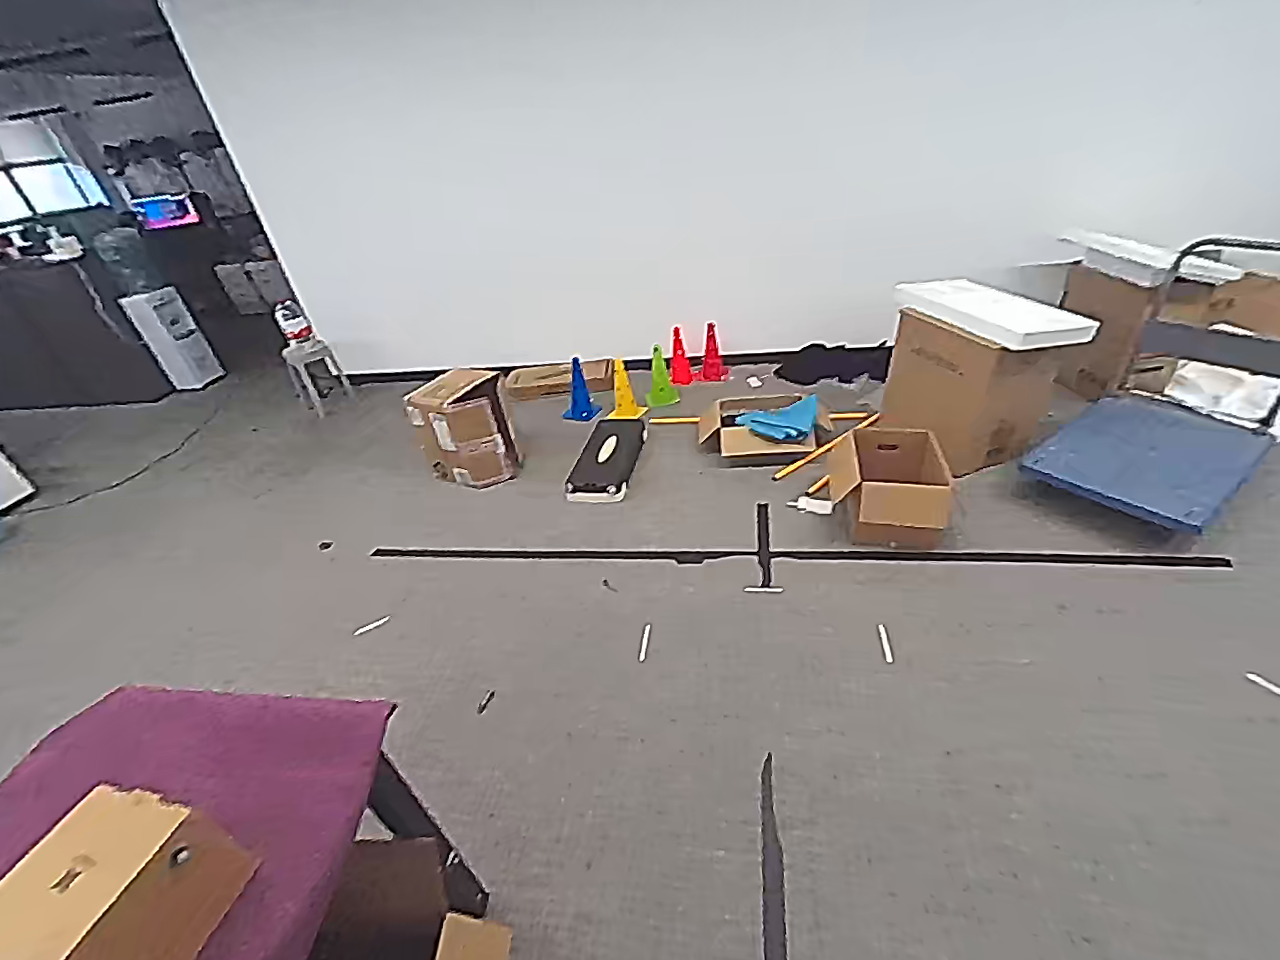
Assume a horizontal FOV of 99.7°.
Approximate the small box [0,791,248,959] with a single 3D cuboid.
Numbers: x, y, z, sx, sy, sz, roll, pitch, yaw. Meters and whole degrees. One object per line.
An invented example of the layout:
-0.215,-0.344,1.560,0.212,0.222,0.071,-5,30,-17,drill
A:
-0.638,0.520,0.656,0.168,0.176,0.179,2,35,15,small box
